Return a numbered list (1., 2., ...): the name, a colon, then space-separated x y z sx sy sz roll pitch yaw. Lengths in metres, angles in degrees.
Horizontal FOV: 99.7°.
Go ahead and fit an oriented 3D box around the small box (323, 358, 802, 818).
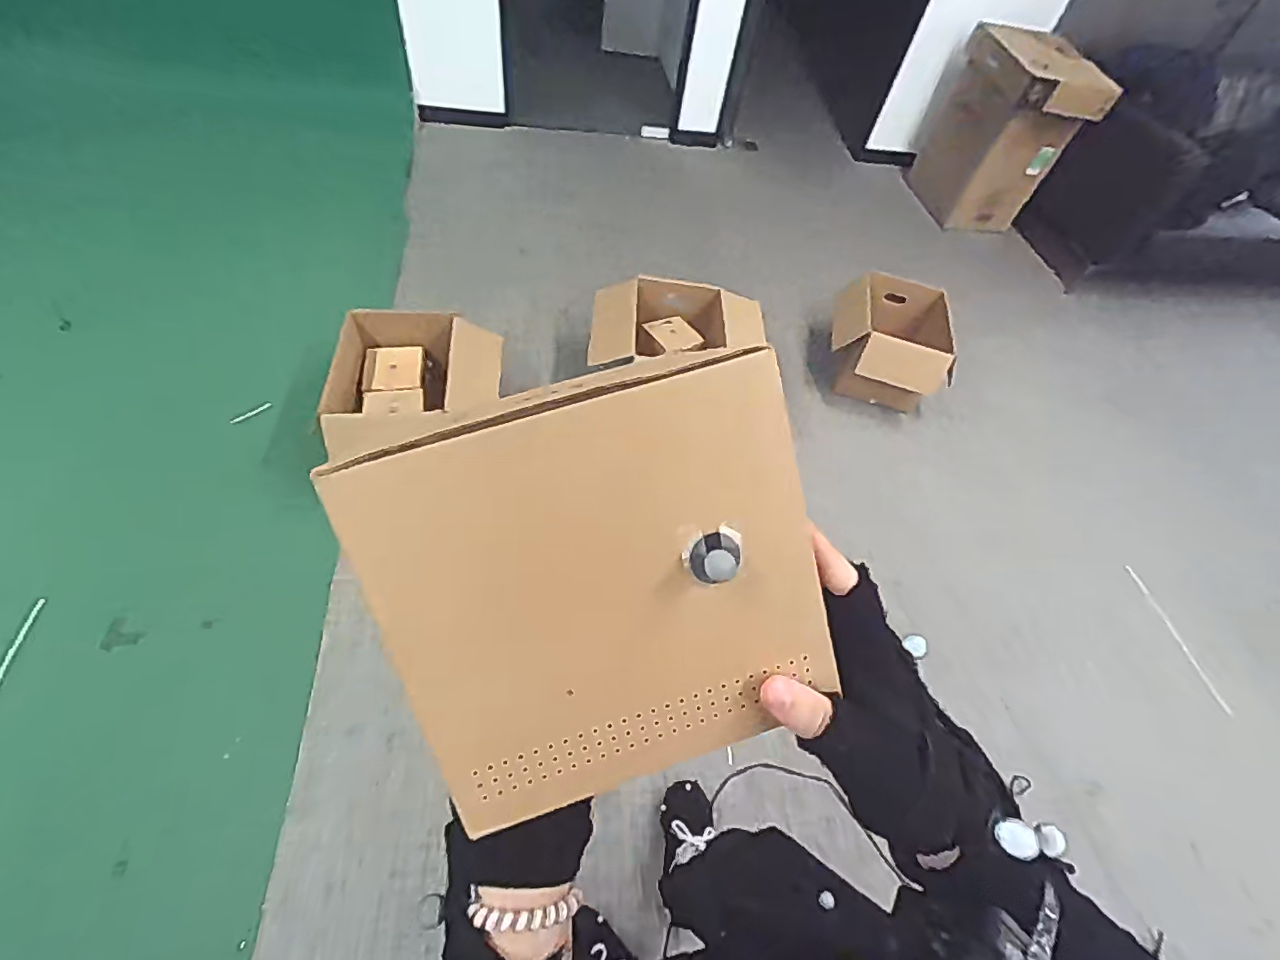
1. small box: -0.026 0.037 0.300 0.179 0.176 0.168 -17 14 -6
